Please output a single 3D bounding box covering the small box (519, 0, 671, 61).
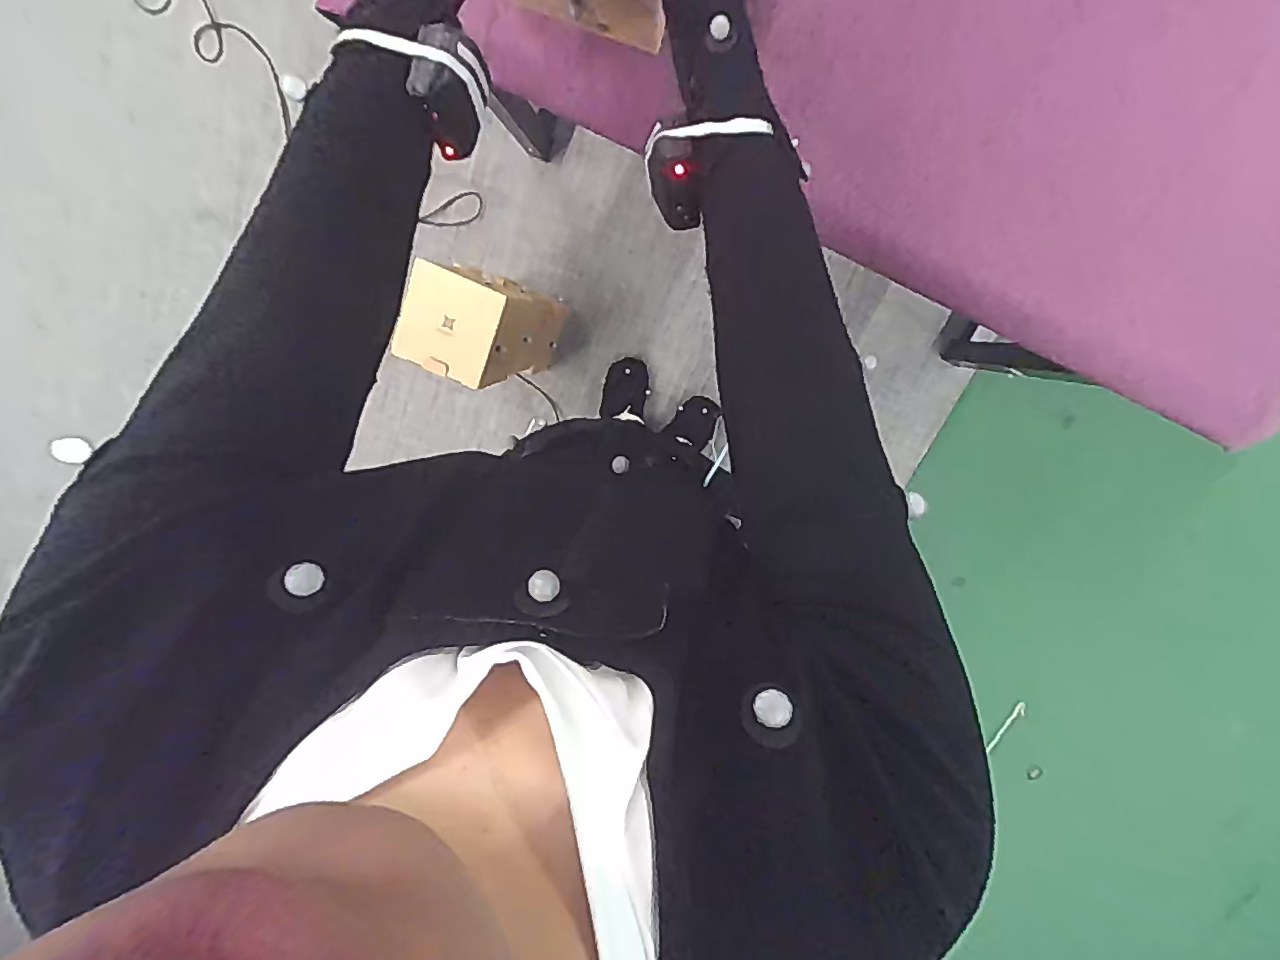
[{"bbox_3d":[-0.037,-0.550,0.503,0.168,0.176,0.179,19,104,-3],"label":"small box"}]

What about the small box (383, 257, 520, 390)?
[{"bbox_3d":[-0.339,-0.290,1.005,0.168,0.176,0.179,24,108,-4],"label":"small box"}]
